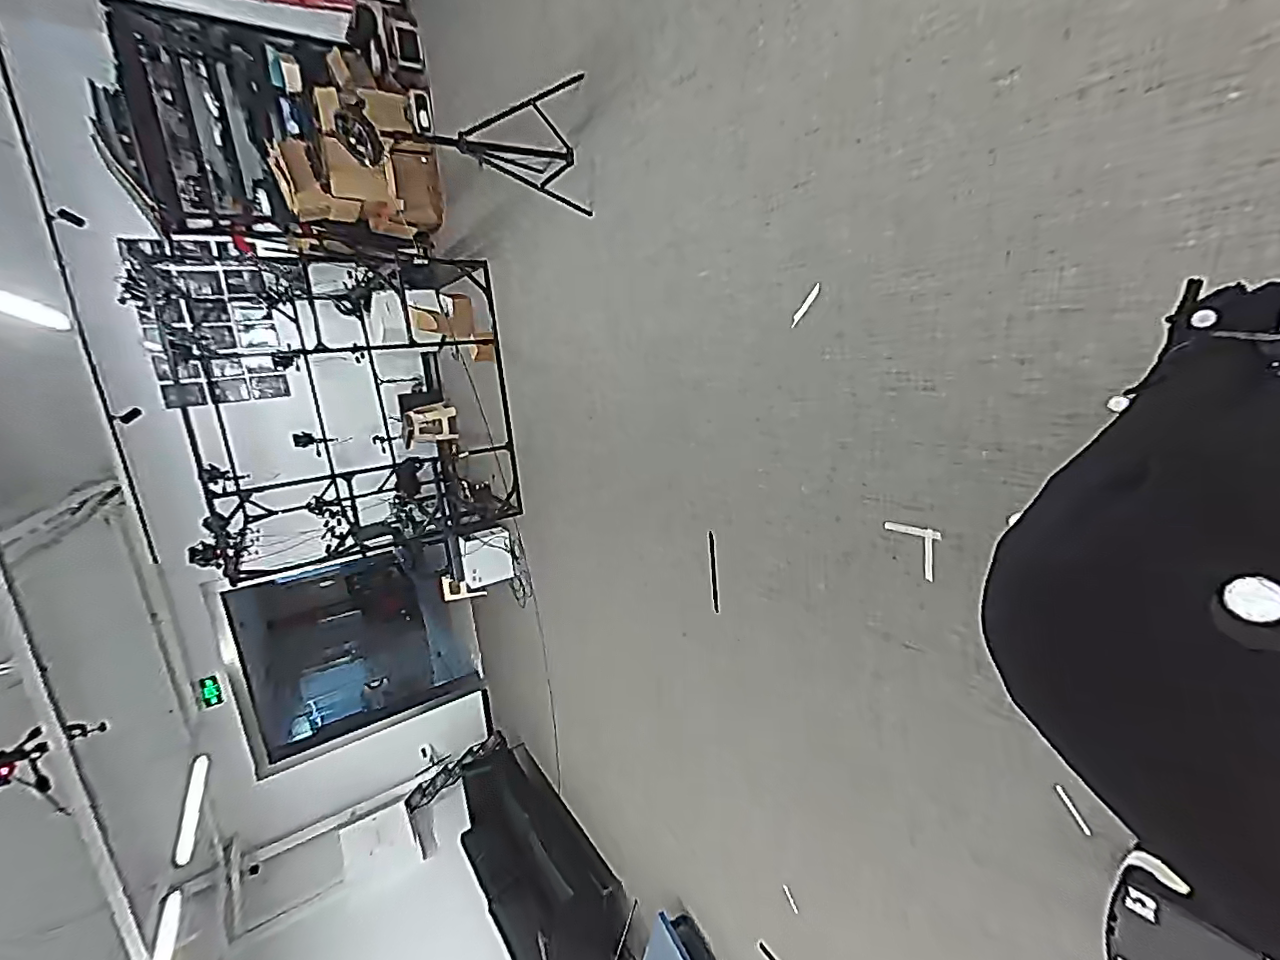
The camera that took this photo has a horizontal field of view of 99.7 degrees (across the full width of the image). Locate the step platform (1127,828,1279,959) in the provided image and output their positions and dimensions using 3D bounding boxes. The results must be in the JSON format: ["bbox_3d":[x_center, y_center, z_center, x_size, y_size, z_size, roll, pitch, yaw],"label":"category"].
[{"bbox_3d":[1.316,0.976,0.949,0.684,0.204,0.286,14,113,57],"label":"step platform"}]
